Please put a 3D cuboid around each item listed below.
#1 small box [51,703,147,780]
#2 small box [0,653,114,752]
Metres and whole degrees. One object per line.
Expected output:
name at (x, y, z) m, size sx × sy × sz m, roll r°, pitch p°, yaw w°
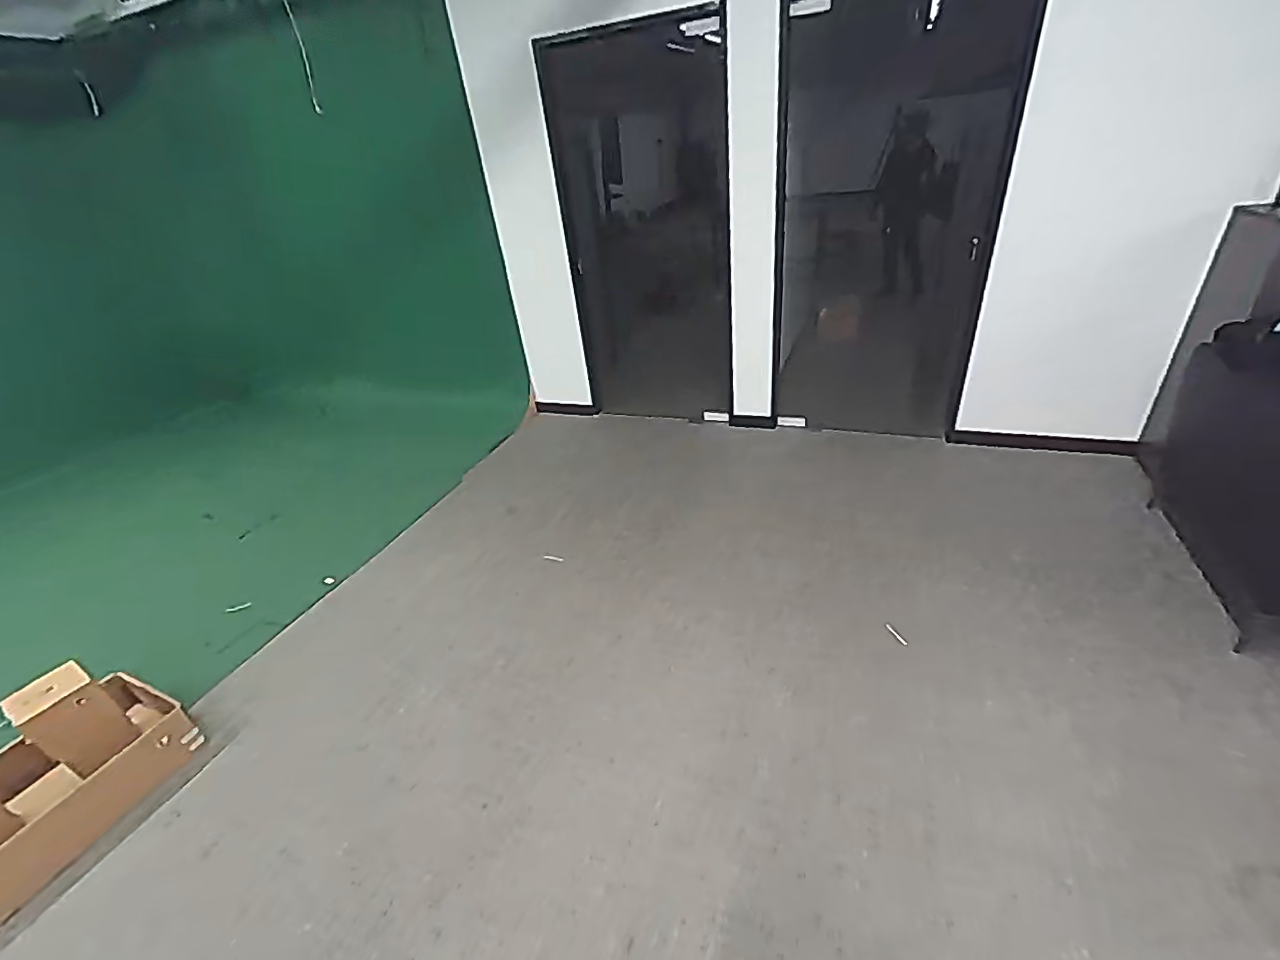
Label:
small box at (-1.706, 0.794, 1.686) m, size 0.179 × 0.176 × 0.168 m, roll 15°, pitch 38°, yaw 27°
small box at (-1.715, 0.656, 1.596) m, size 0.168 × 0.176 × 0.179 m, roll 14°, pitch 38°, yaw 29°
